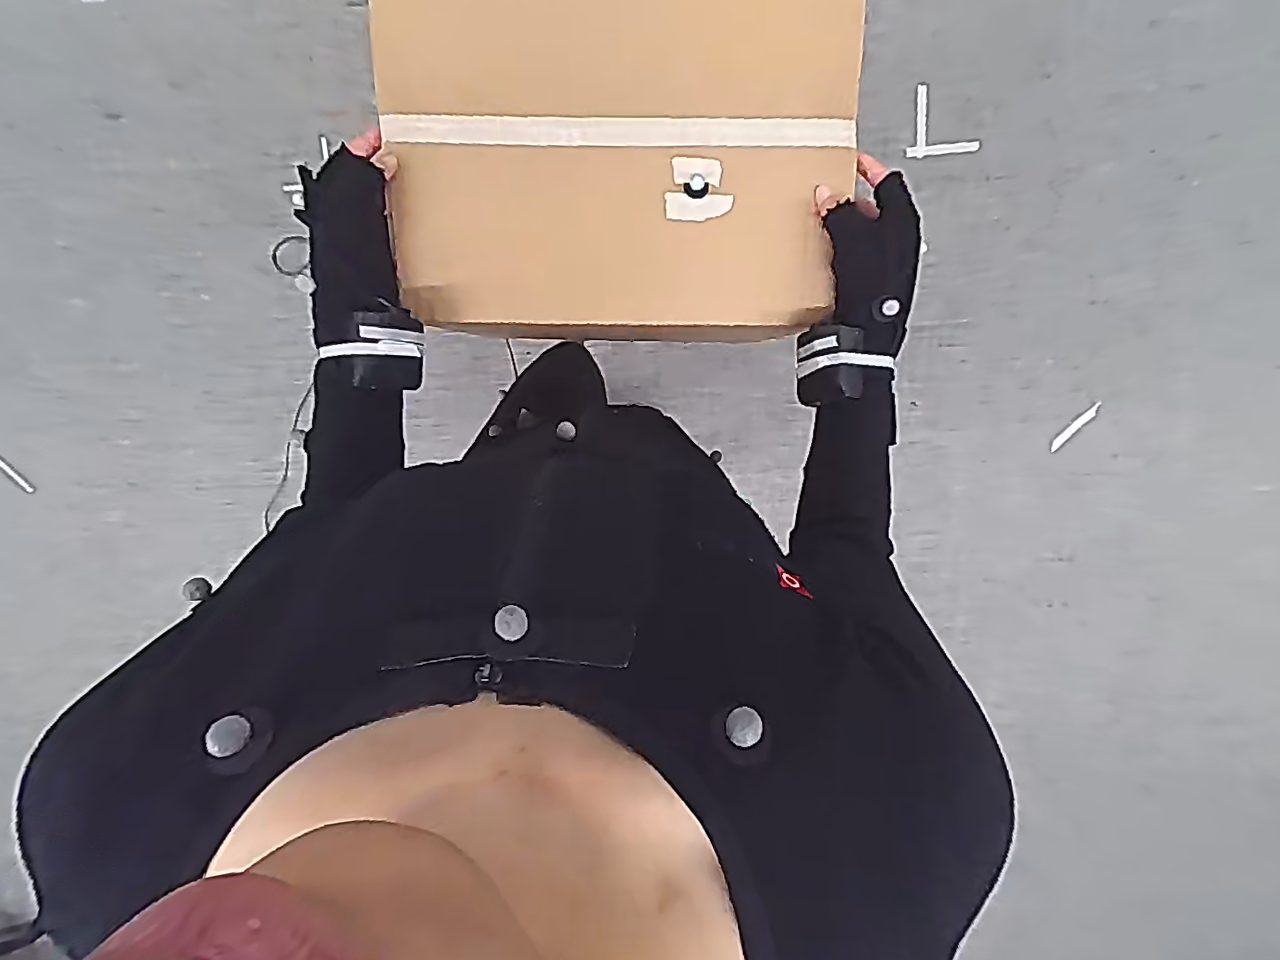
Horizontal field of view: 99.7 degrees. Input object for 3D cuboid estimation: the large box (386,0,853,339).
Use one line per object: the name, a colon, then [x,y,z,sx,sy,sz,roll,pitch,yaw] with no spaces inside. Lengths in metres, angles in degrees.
large box: [-0.020,-0.333,0.621,0.408,0.320,0.320,0,102,-1]
